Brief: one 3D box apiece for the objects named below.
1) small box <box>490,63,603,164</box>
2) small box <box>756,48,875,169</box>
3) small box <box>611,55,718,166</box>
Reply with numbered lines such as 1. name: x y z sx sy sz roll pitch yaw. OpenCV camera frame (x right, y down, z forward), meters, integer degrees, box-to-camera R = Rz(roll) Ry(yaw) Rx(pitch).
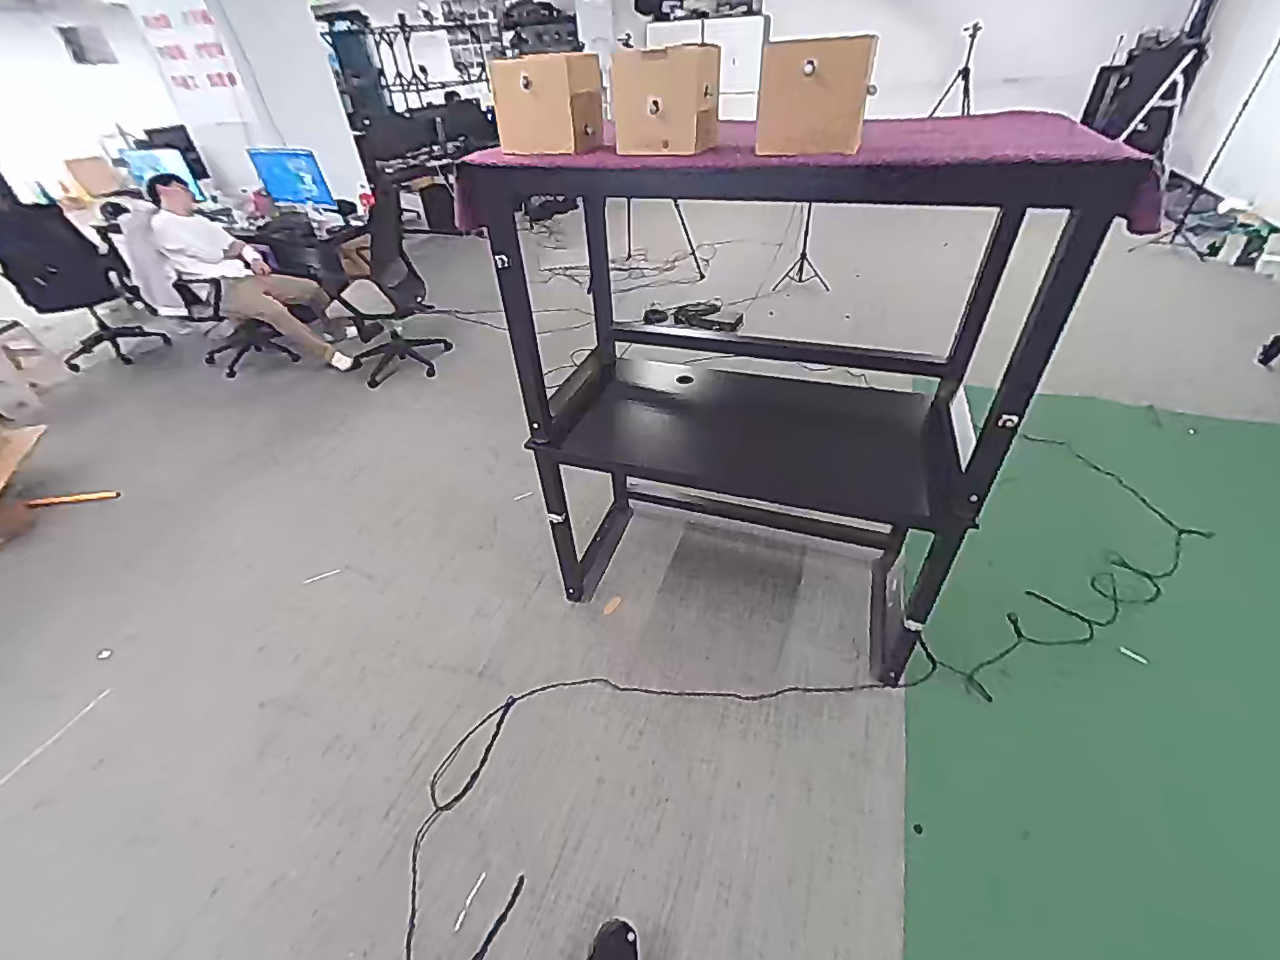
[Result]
1. small box: -0.190 -0.782 1.157 0.179 0.176 0.168 11 40 15
2. small box: 0.320 -0.683 0.996 0.179 0.176 0.168 10 39 19
3. small box: 0.056 -0.735 1.080 0.168 0.176 0.179 11 40 17
